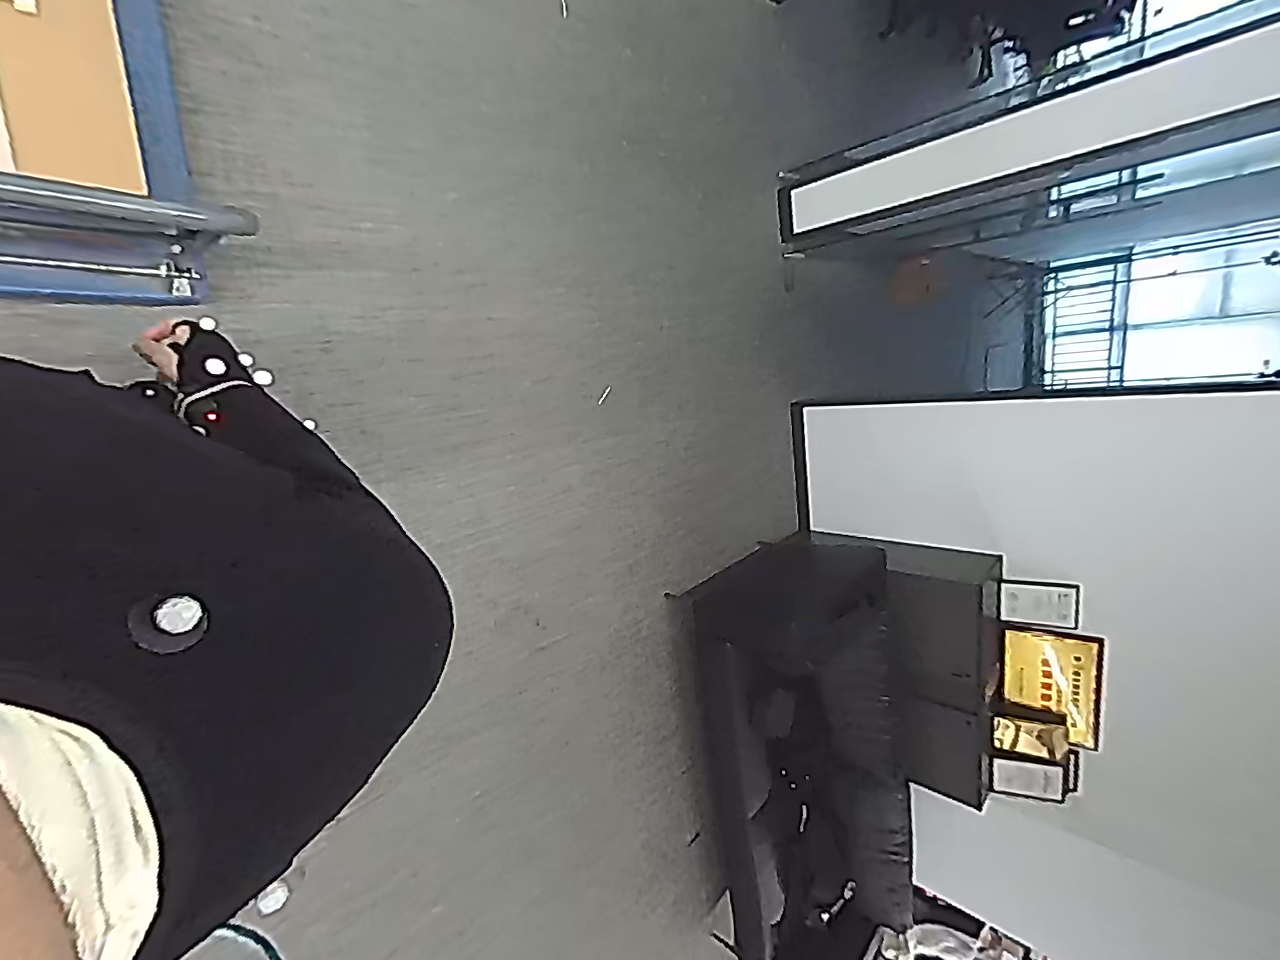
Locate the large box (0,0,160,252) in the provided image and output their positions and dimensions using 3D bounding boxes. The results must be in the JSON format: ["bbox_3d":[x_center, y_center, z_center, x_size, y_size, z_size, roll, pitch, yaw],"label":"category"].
[{"bbox_3d":[-1.008,-0.614,0.846,0.320,0.320,0.408,-13,102,-45],"label":"large box"}]
